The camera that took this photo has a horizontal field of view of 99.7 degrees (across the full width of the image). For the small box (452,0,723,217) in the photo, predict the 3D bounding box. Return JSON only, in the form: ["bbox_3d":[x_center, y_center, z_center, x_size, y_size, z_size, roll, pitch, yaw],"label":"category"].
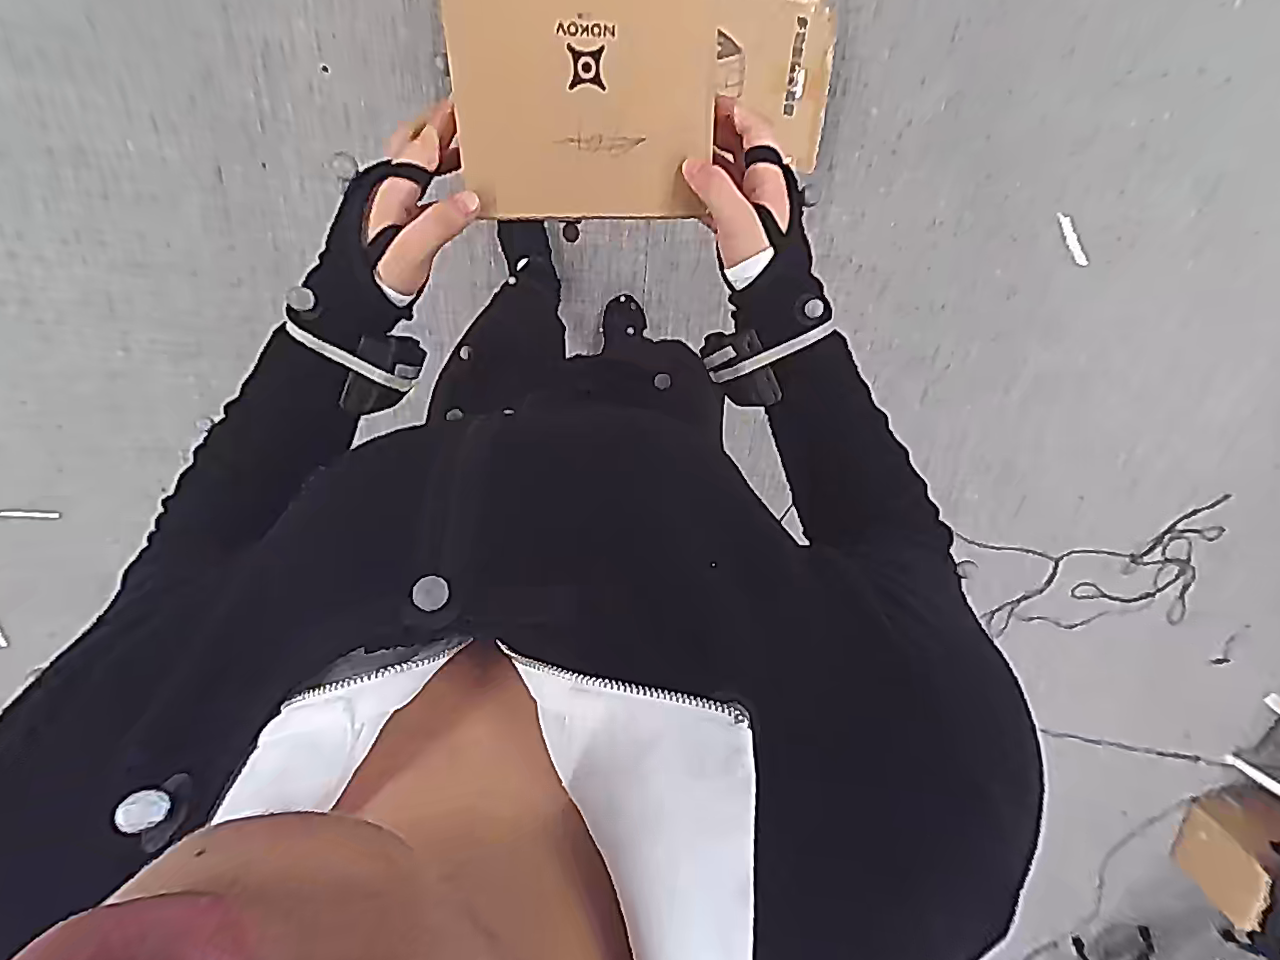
[{"bbox_3d":[-0.042,-0.296,0.405,0.168,0.176,0.179,-4,117,-7],"label":"small box"}]
